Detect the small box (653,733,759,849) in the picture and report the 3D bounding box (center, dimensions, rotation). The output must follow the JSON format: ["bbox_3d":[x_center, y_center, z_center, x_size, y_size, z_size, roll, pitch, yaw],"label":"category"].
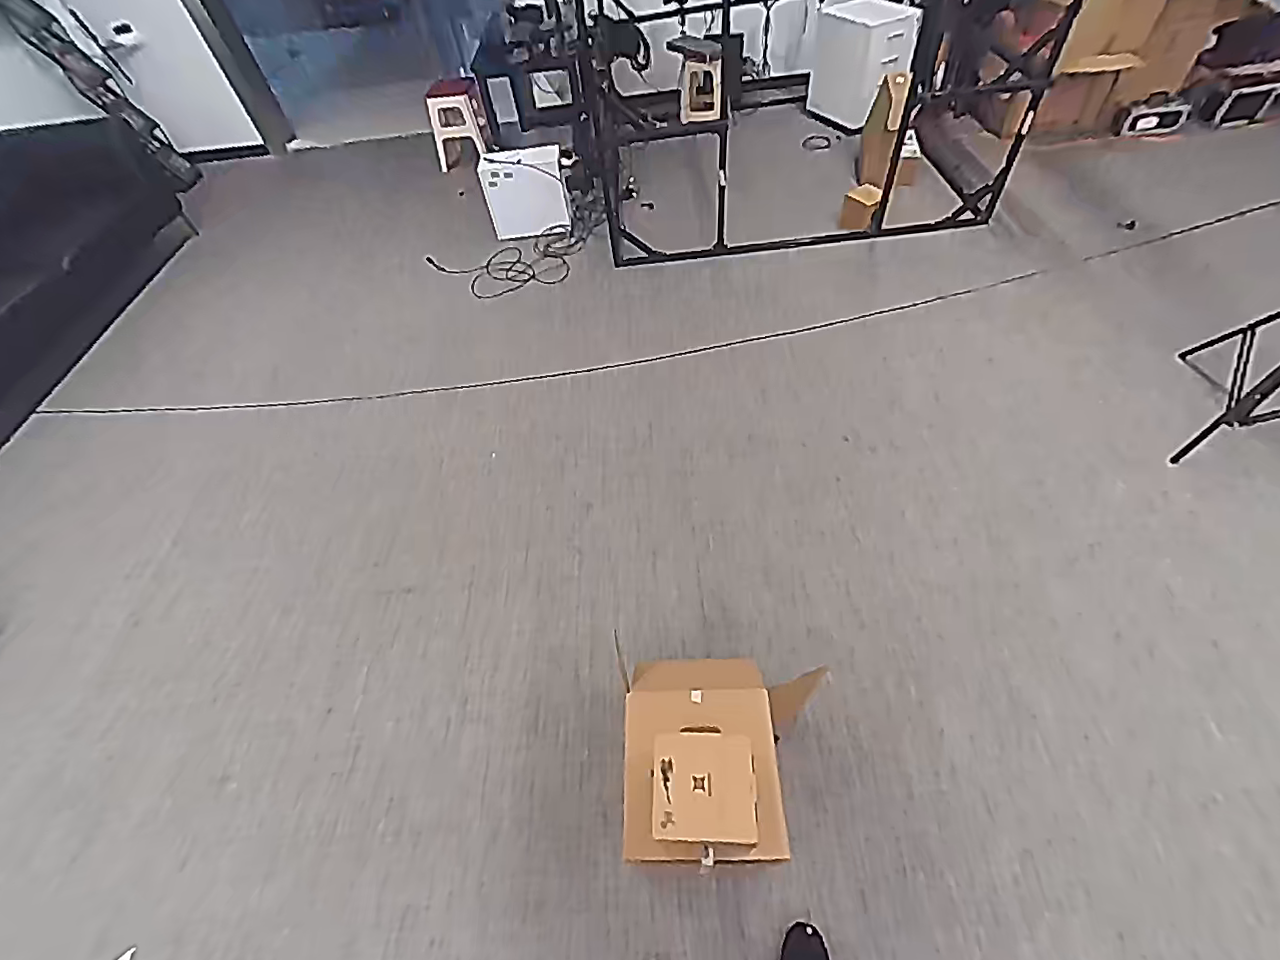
[{"bbox_3d":[0.119,0.578,1.001,0.179,0.176,0.168,-1,54,6],"label":"small box"}]
